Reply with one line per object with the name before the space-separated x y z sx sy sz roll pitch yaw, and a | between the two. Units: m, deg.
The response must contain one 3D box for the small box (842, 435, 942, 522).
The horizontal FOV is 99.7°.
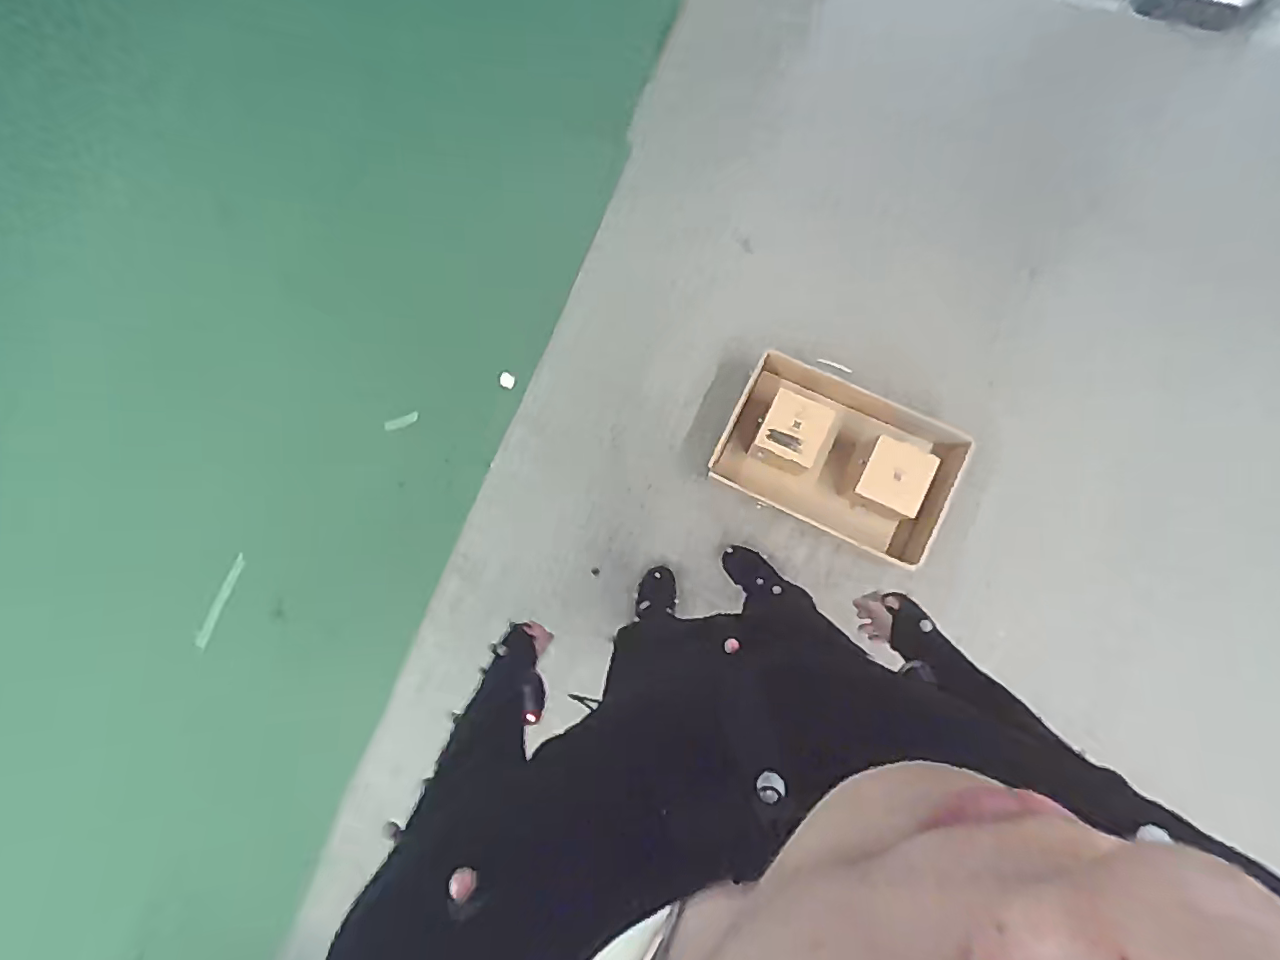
small box | 0.679 0.002 1.479 0.168 0.176 0.179 26 86 8
